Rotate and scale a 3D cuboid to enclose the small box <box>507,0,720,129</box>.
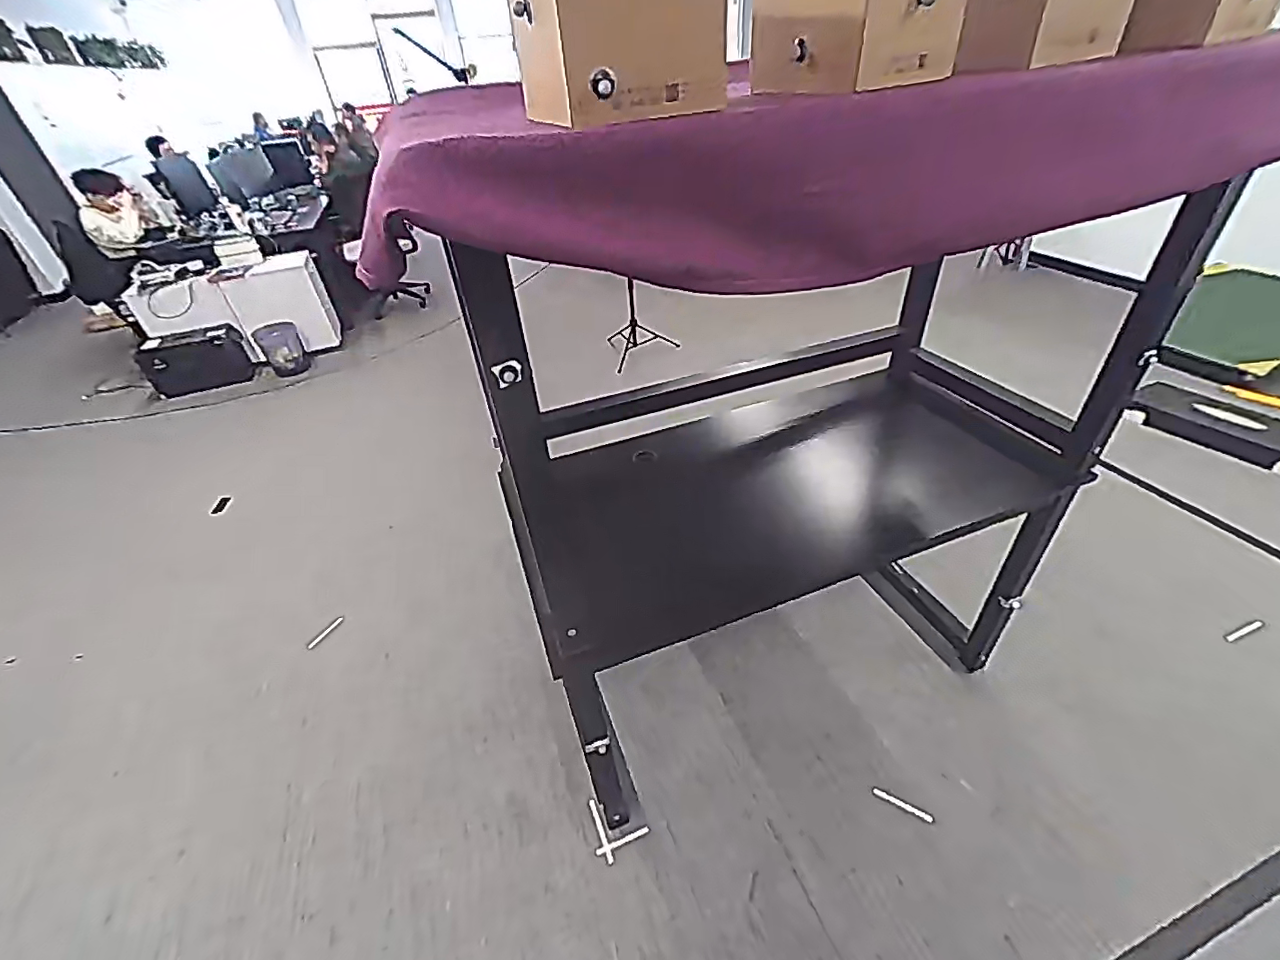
[{"bbox_3d":[-0.028,-0.458,0.537,0.168,0.176,0.179,-18,38,-16],"label":"small box"}]

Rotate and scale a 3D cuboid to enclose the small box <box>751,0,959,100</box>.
[{"bbox_3d":[0.246,-0.548,0.620,0.168,0.176,0.179,-24,41,-22],"label":"small box"}]

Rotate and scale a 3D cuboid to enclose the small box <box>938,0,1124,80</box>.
[{"bbox_3d":[0.494,-0.628,0.693,0.168,0.176,0.179,-19,39,-17],"label":"small box"}]

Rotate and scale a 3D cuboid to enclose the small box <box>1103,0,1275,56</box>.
[{"bbox_3d":[0.745,-0.696,0.742,0.168,0.176,0.179,-22,40,-18],"label":"small box"}]
